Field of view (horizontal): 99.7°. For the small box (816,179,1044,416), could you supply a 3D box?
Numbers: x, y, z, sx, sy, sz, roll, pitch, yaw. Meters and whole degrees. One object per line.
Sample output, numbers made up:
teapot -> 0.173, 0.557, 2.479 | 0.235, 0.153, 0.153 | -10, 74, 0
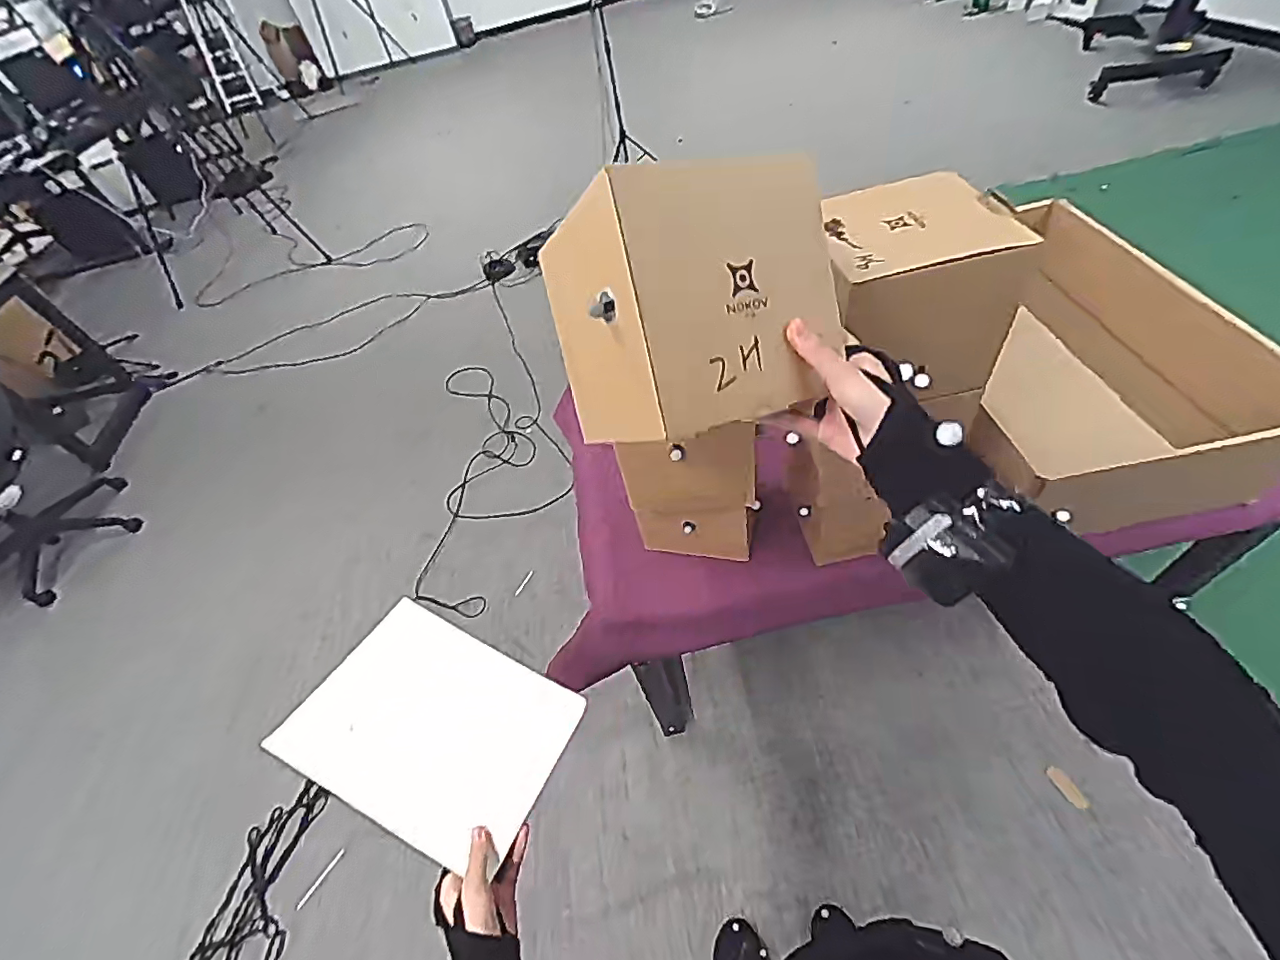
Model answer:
small box -> 0.273, -0.193, 0.588 | 0.179, 0.176, 0.168 | -11, 48, 2

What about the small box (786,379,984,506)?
small box -> 0.301, -0.088, 0.711 | 0.179, 0.176, 0.168 | -12, 48, 3

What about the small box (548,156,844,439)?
small box -> 0.035, -0.137, 0.450 | 0.168, 0.179, 0.176 | -16, 9, -22
